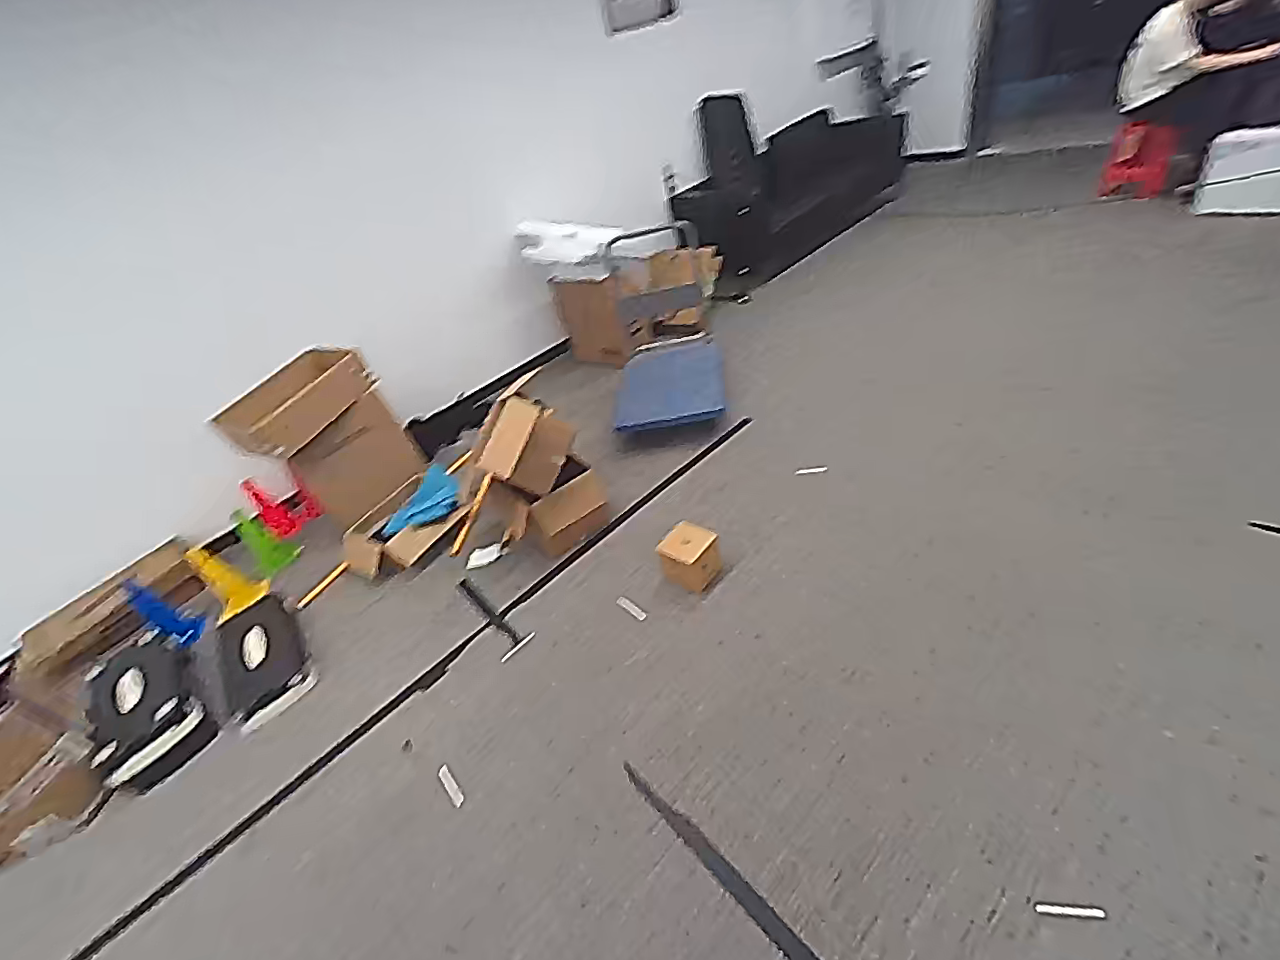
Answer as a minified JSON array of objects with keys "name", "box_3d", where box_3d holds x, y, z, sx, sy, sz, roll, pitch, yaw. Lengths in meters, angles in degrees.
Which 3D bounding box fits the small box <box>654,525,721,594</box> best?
[{"name":"small box","box_3d":[0.185,0.304,2.043,0.179,0.176,0.168,17,48,40]}]
